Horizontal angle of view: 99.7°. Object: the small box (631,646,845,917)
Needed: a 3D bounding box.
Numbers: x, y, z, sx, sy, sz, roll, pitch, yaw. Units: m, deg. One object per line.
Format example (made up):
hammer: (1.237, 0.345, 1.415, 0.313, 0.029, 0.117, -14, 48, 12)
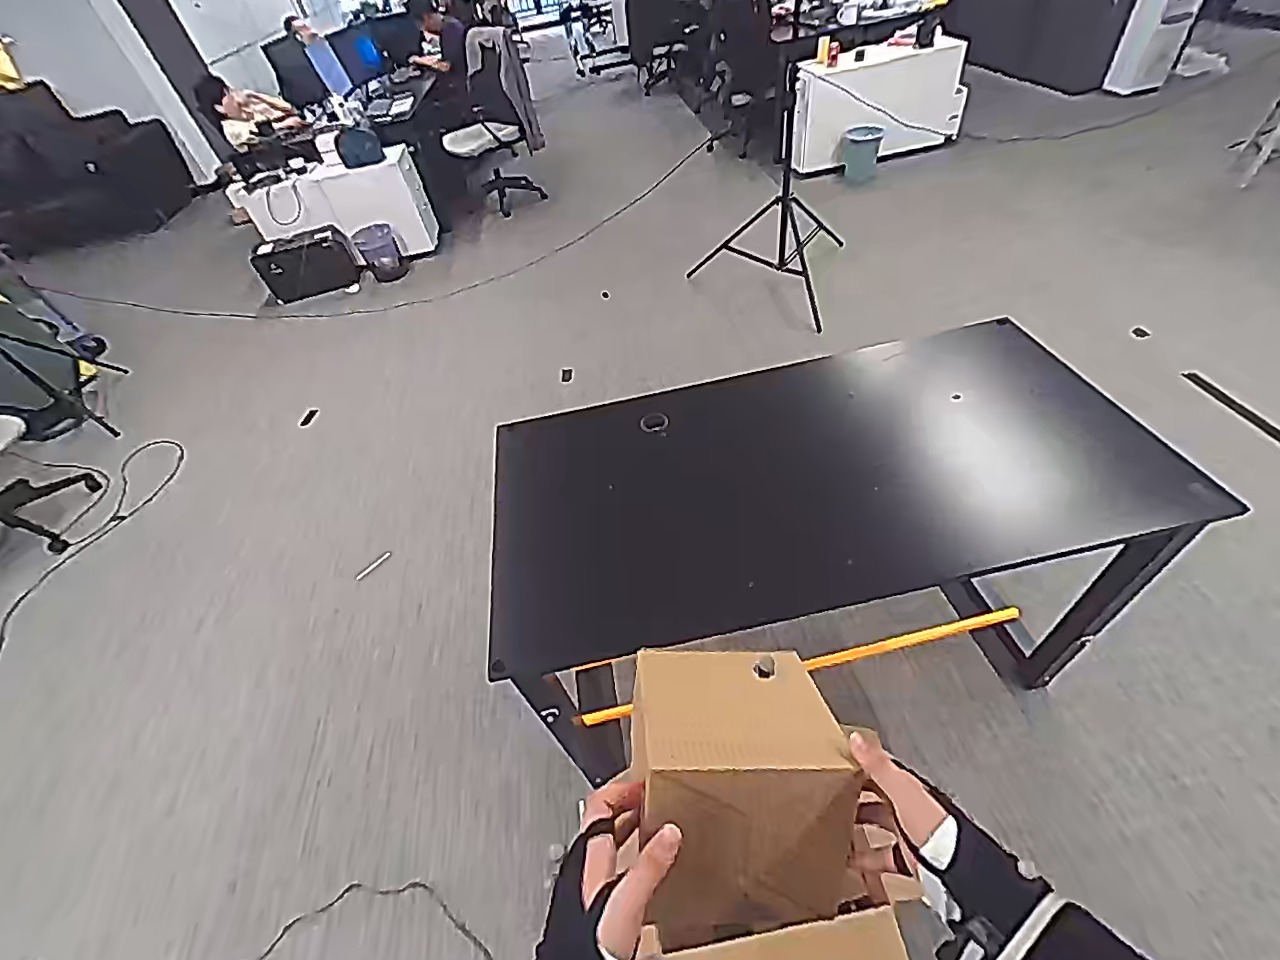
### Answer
small box: (0.082, 0.282, 0.526, 0.179, 0.168, 0.176, 1, 17, -4)
